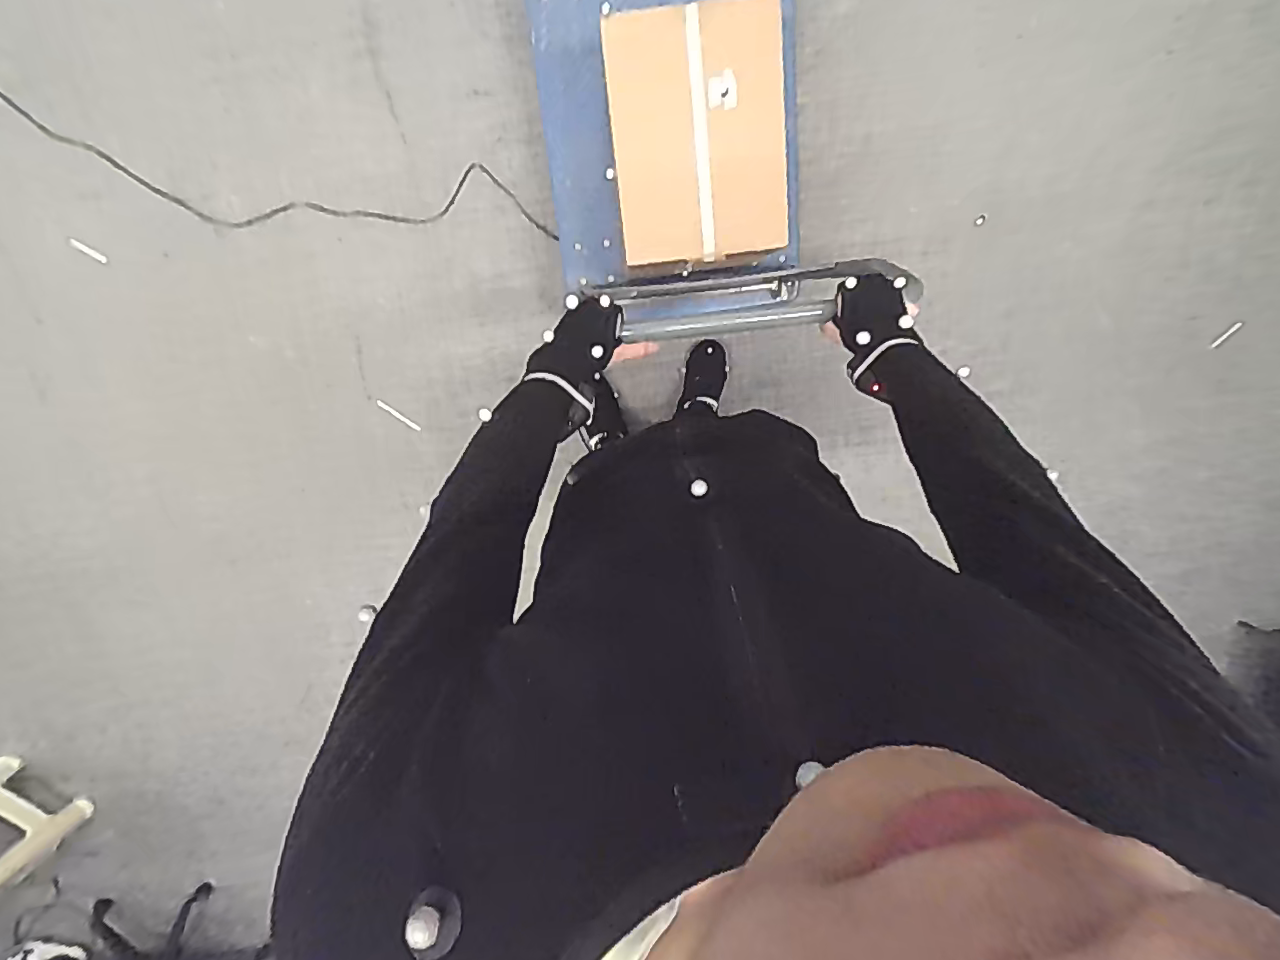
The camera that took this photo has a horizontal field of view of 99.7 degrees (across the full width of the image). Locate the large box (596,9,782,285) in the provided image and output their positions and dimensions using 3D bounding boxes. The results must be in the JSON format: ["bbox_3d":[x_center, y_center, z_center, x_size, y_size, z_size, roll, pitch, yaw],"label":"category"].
[{"bbox_3d":[0.097,-0.652,1.139,0.320,0.320,0.408,-7,105,0],"label":"large box"}]
